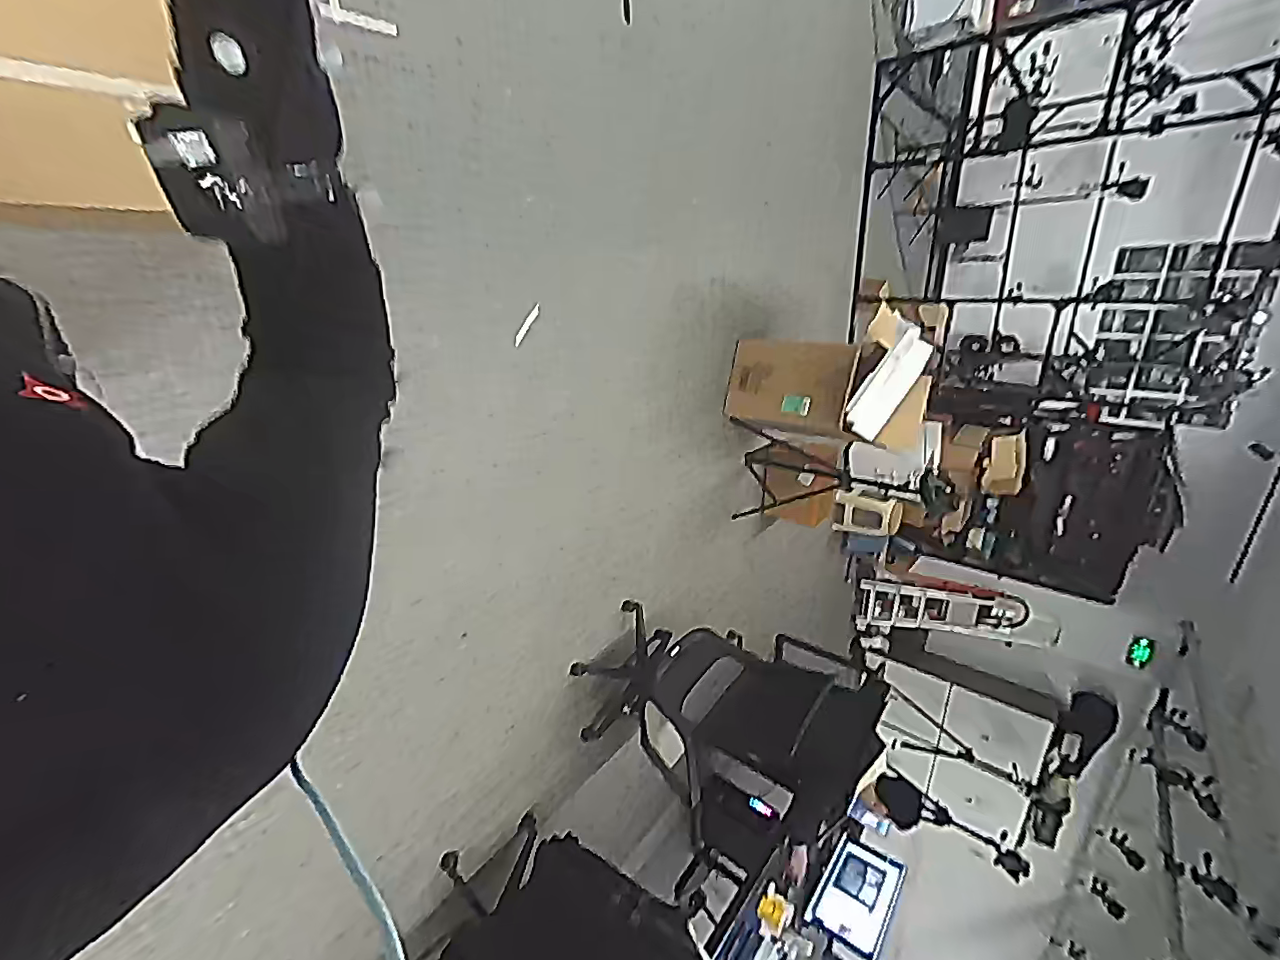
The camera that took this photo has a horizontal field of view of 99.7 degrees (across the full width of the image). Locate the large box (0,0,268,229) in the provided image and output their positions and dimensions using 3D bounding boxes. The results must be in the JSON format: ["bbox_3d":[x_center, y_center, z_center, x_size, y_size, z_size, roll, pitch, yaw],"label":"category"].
[{"bbox_3d":[-0.877,-0.559,0.807,0.408,0.320,0.320,-27,122,-47],"label":"large box"}]
